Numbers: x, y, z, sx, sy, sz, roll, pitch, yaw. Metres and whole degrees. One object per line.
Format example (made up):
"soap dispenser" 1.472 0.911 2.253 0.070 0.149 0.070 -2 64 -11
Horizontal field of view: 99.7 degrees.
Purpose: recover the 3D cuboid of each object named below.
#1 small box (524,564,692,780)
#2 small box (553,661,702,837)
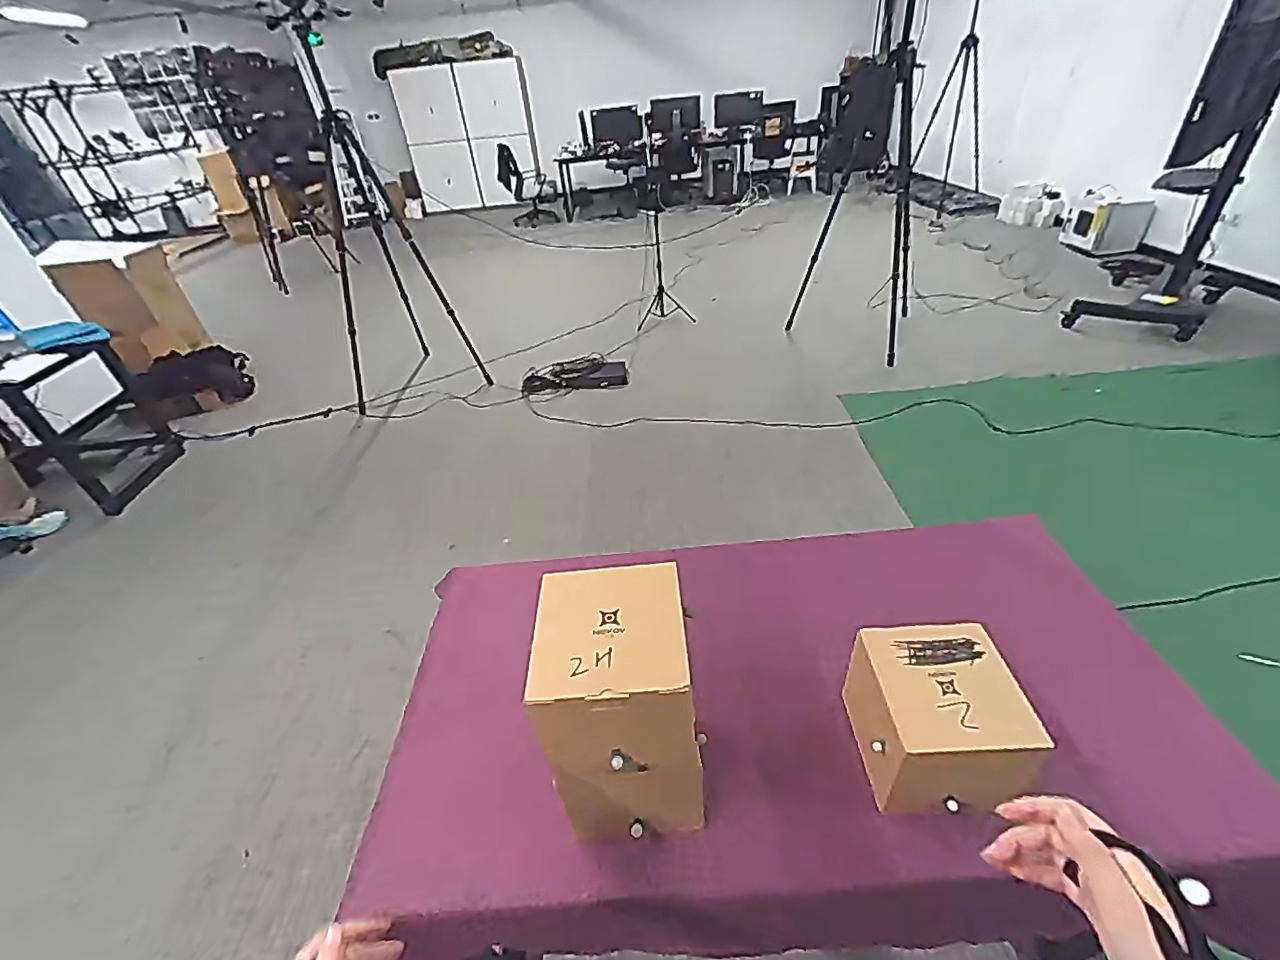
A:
"small box" -0.029 0.225 0.643 0.168 0.176 0.179 -6 37 2
"small box" -0.014 0.360 0.738 0.179 0.176 0.168 -6 36 0
